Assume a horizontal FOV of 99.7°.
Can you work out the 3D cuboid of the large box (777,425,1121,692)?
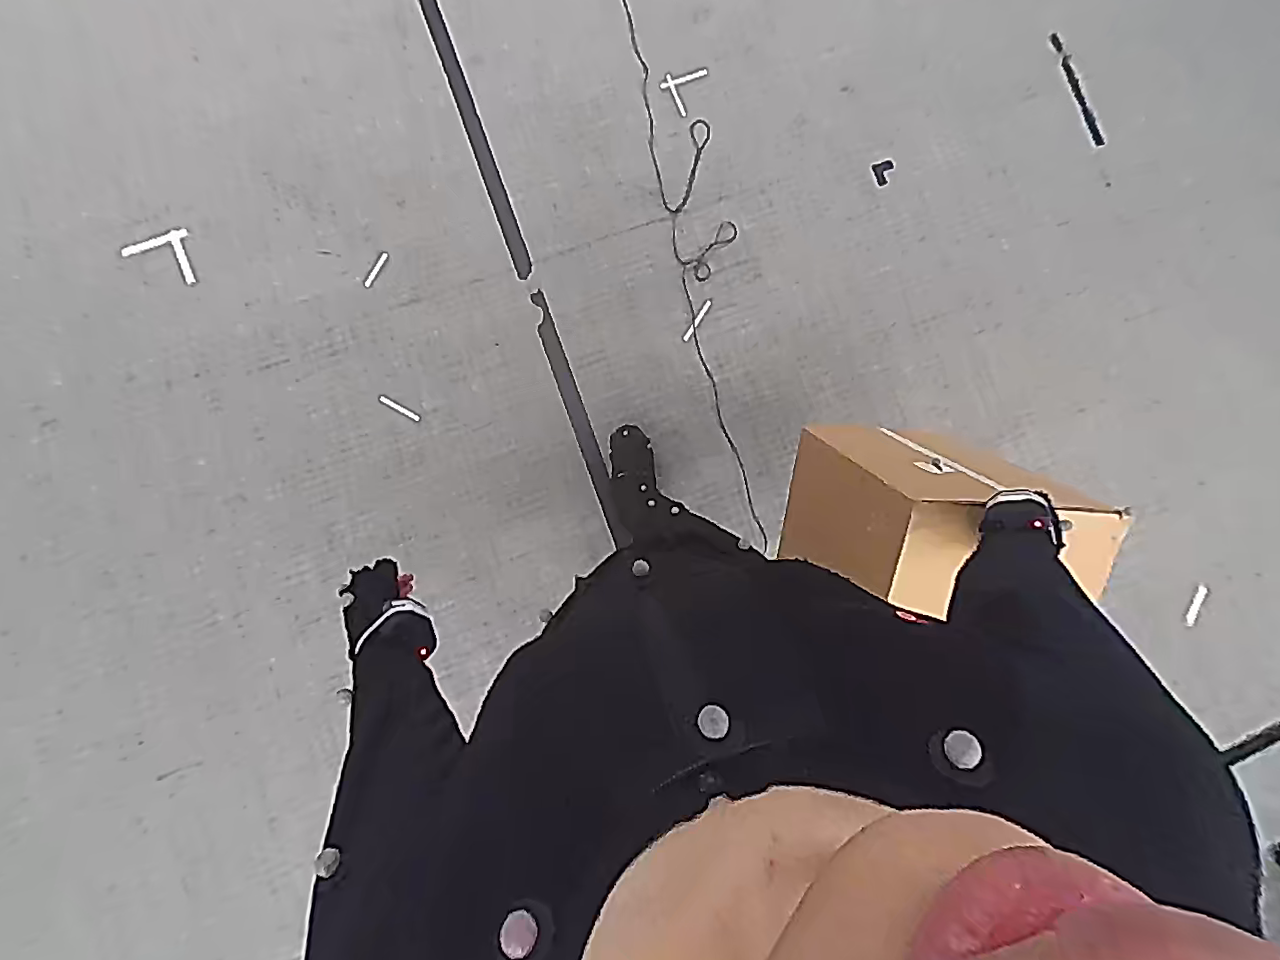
[{"bbox_3d":[0.476,0.112,0.956,0.320,0.408,0.320,3,110,-6],"label":"large box"}]
